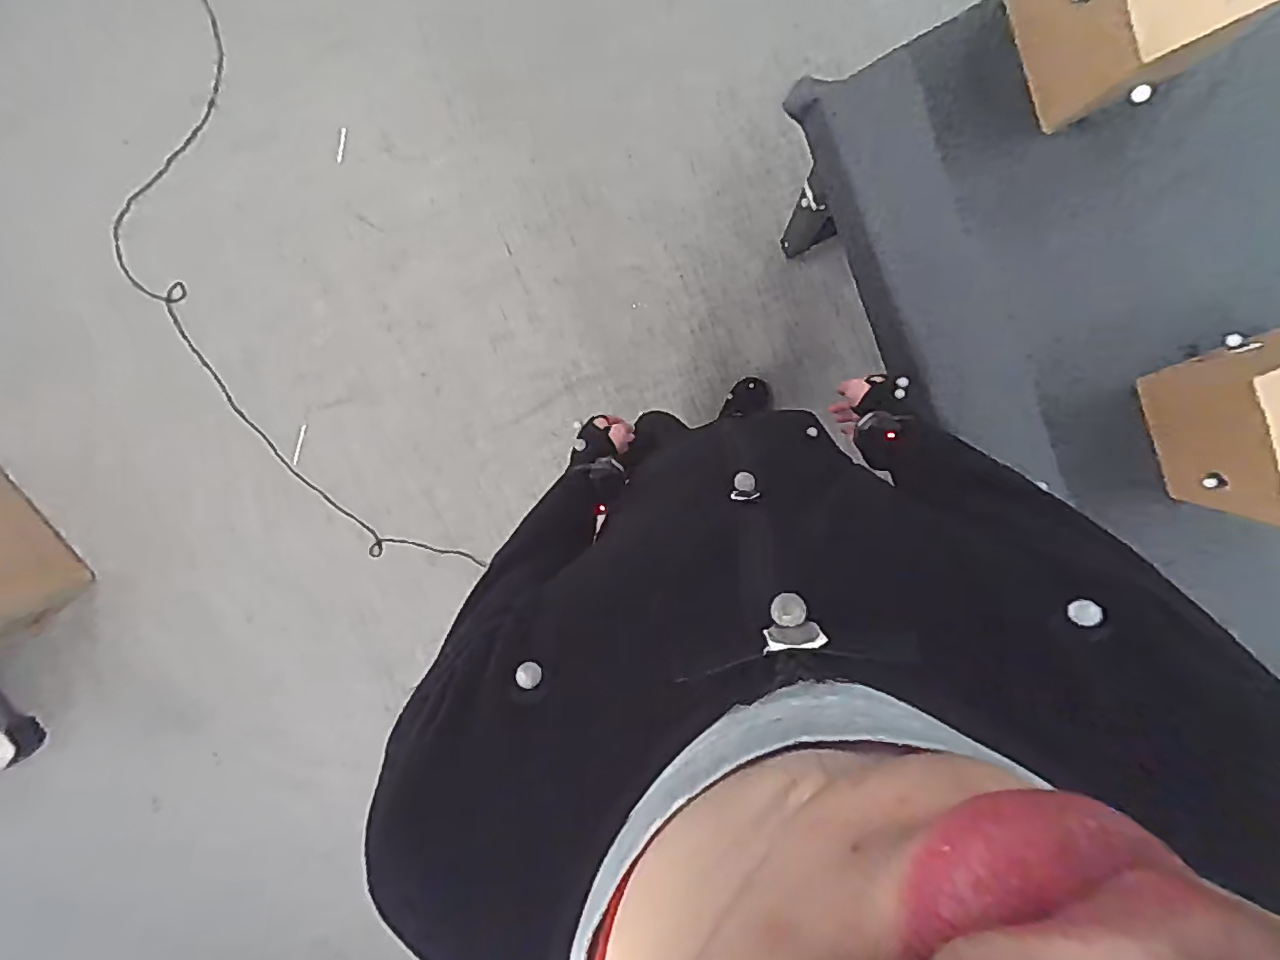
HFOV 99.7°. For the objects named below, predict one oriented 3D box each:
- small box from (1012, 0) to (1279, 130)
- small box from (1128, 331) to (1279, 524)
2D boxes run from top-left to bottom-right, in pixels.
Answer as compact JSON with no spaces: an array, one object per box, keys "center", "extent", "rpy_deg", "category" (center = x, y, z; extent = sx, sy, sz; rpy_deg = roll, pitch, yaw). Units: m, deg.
[{"center":[0.541,-0.526,0.577],"extent":[0.168,0.176,0.179],"rpy_deg":[-22,99,11],"category":"small box"},{"center":[0.752,-0.073,0.649],"extent":[0.168,0.176,0.179],"rpy_deg":[-22,97,10],"category":"small box"}]
